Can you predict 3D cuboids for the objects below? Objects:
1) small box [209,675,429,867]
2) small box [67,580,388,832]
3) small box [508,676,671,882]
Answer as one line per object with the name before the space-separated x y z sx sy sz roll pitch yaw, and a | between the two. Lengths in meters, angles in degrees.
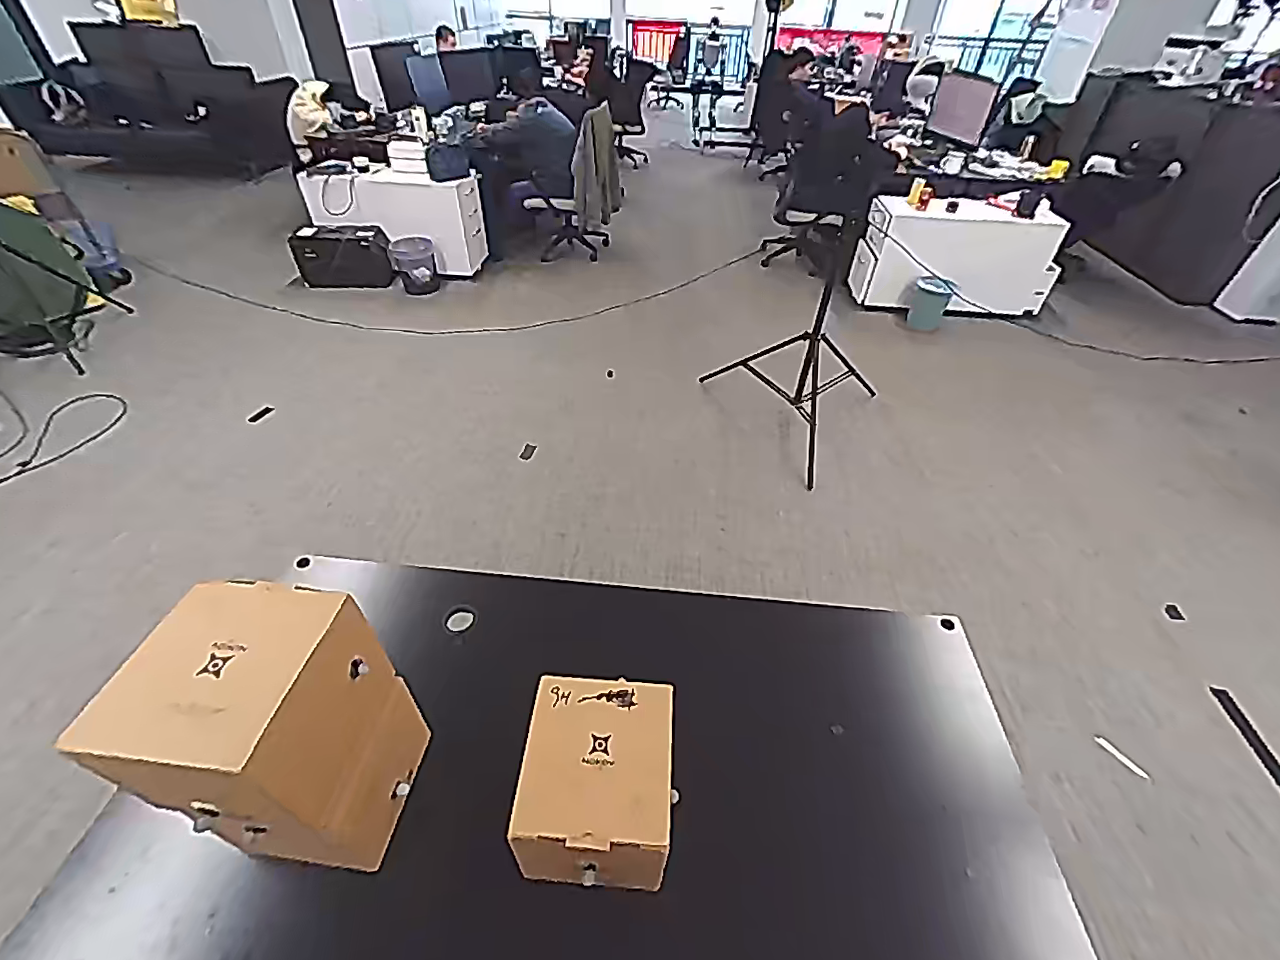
small box | -0.387 0.348 0.662 0.179 0.176 0.168 6 42 3
small box | -0.384 0.228 0.553 0.168 0.176 0.179 4 43 4
small box | -0.050 0.366 0.660 0.168 0.176 0.179 4 42 2
